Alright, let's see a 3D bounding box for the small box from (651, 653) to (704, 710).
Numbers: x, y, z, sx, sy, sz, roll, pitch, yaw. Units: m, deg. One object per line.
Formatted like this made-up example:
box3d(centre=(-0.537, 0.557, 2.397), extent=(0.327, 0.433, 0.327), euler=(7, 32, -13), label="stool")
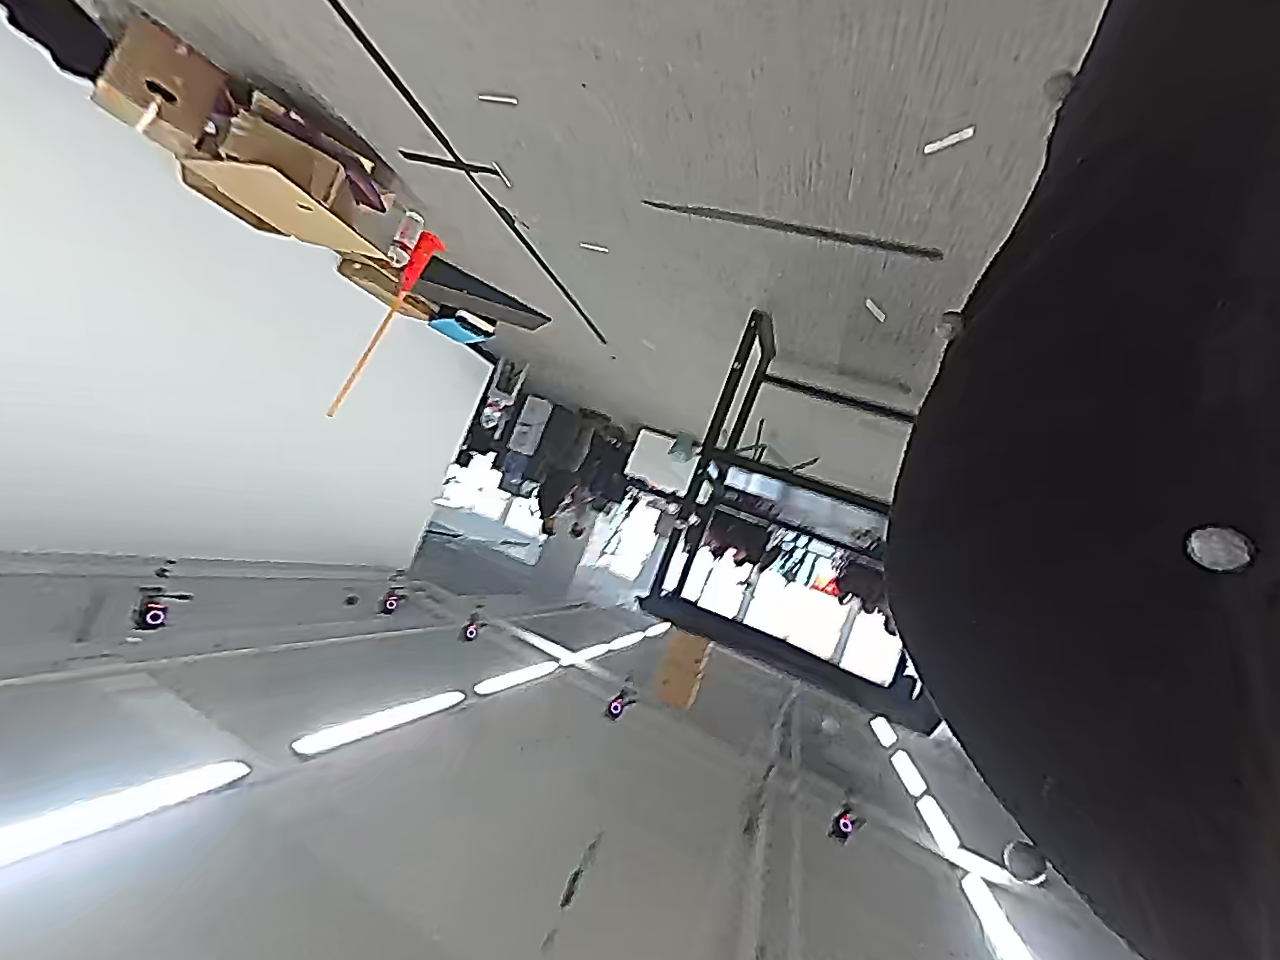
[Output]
box3d(centre=(0.172, 0.899, 2.435), extent=(0.179, 0.176, 0.168), euler=(19, 178, 17), label="small box")
